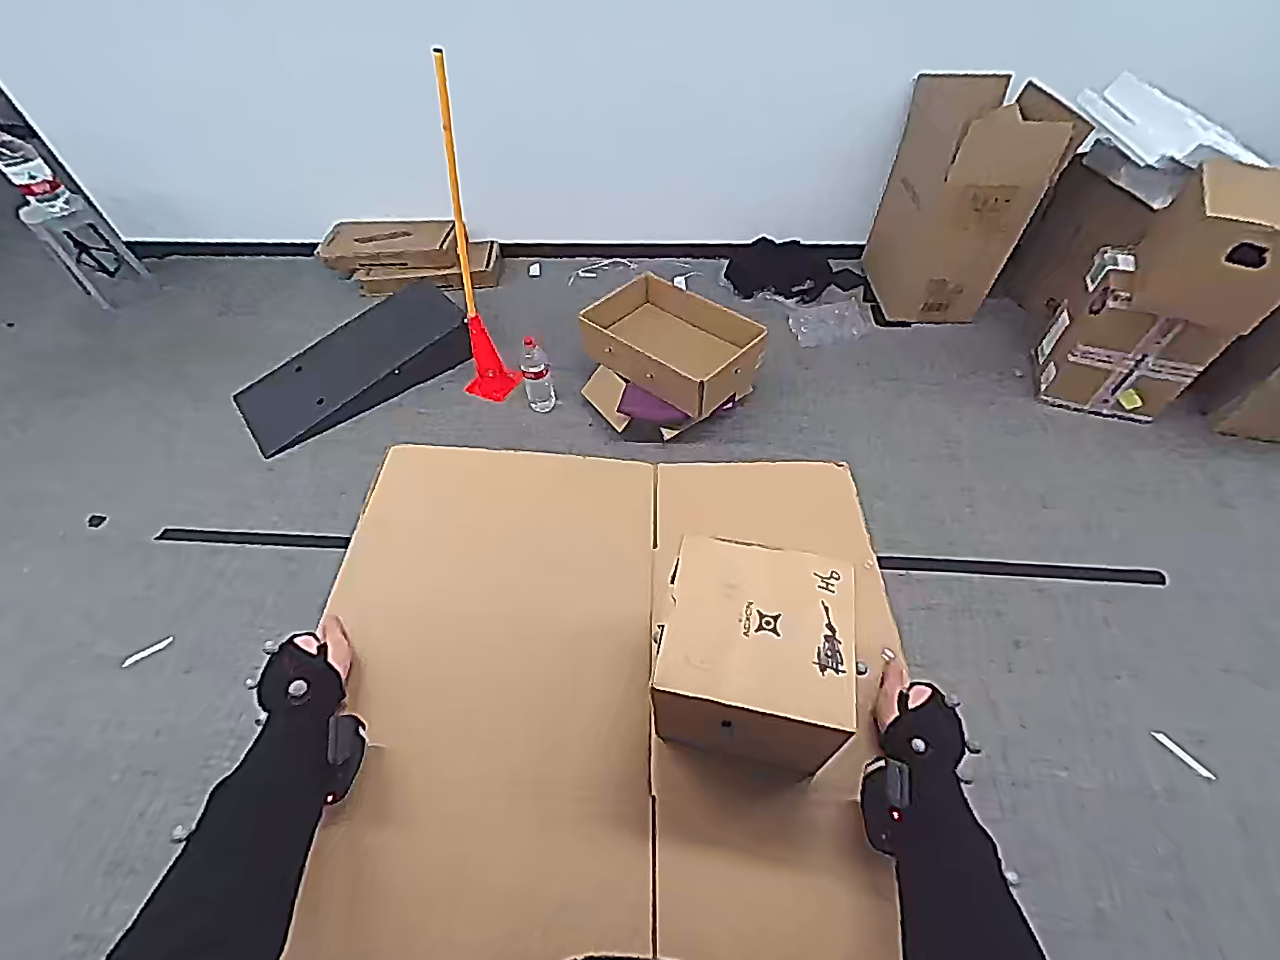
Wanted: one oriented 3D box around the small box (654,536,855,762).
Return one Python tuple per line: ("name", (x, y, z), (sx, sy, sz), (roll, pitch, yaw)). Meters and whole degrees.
("small box", (0.121, 0.183, 0.578), (0.179, 0.176, 0.168), (8, 53, 11))
